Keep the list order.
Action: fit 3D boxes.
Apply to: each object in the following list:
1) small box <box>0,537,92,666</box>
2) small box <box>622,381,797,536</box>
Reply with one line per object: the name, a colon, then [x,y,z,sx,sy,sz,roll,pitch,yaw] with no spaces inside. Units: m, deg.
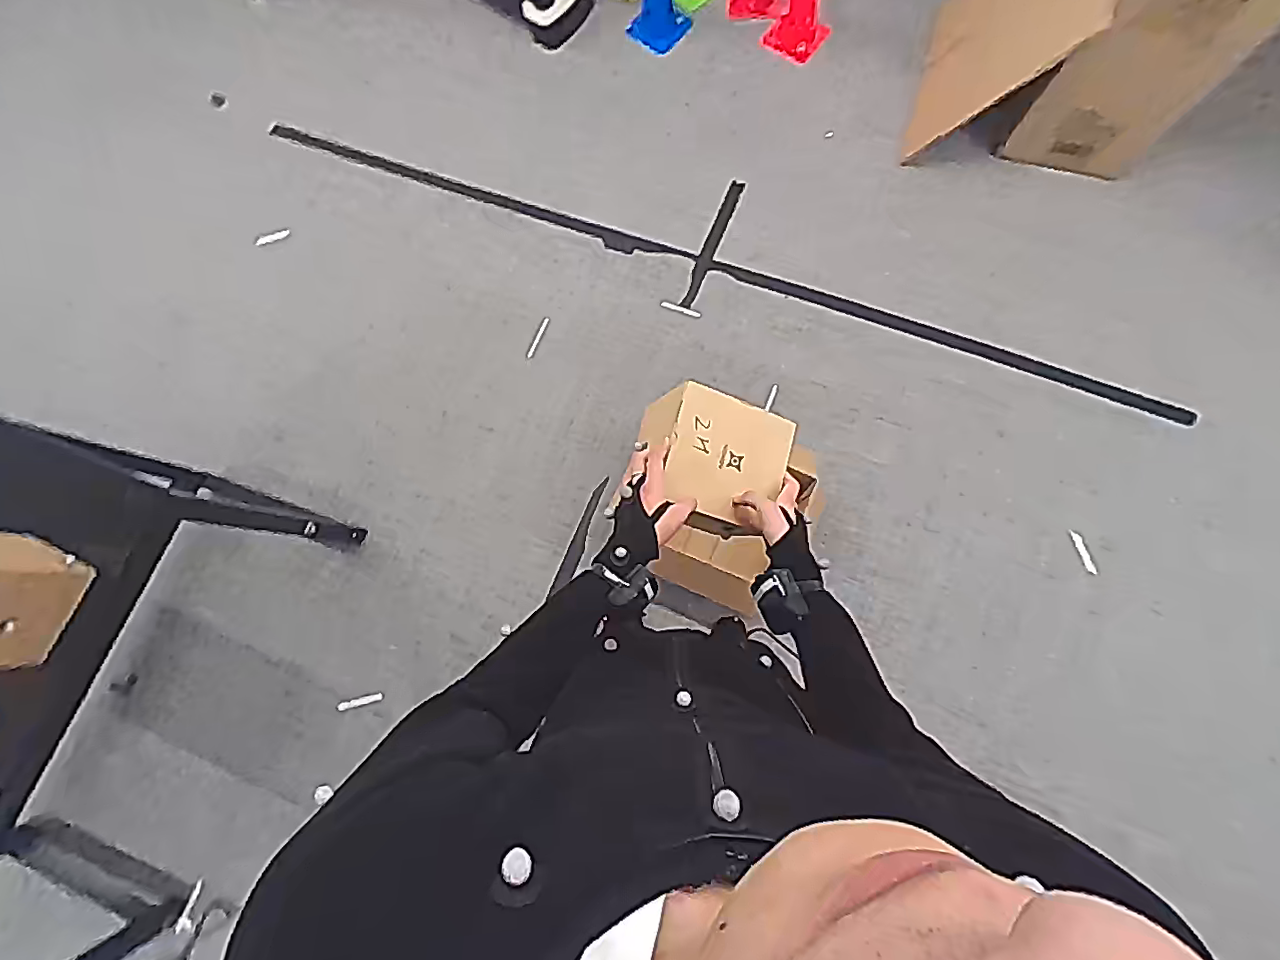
small box: [-1.096,0.199,0.906,0.168,0.176,0.179,23,82,9]
small box: [0.093,-0.022,0.789,0.179,0.176,0.168,18,79,-15]
